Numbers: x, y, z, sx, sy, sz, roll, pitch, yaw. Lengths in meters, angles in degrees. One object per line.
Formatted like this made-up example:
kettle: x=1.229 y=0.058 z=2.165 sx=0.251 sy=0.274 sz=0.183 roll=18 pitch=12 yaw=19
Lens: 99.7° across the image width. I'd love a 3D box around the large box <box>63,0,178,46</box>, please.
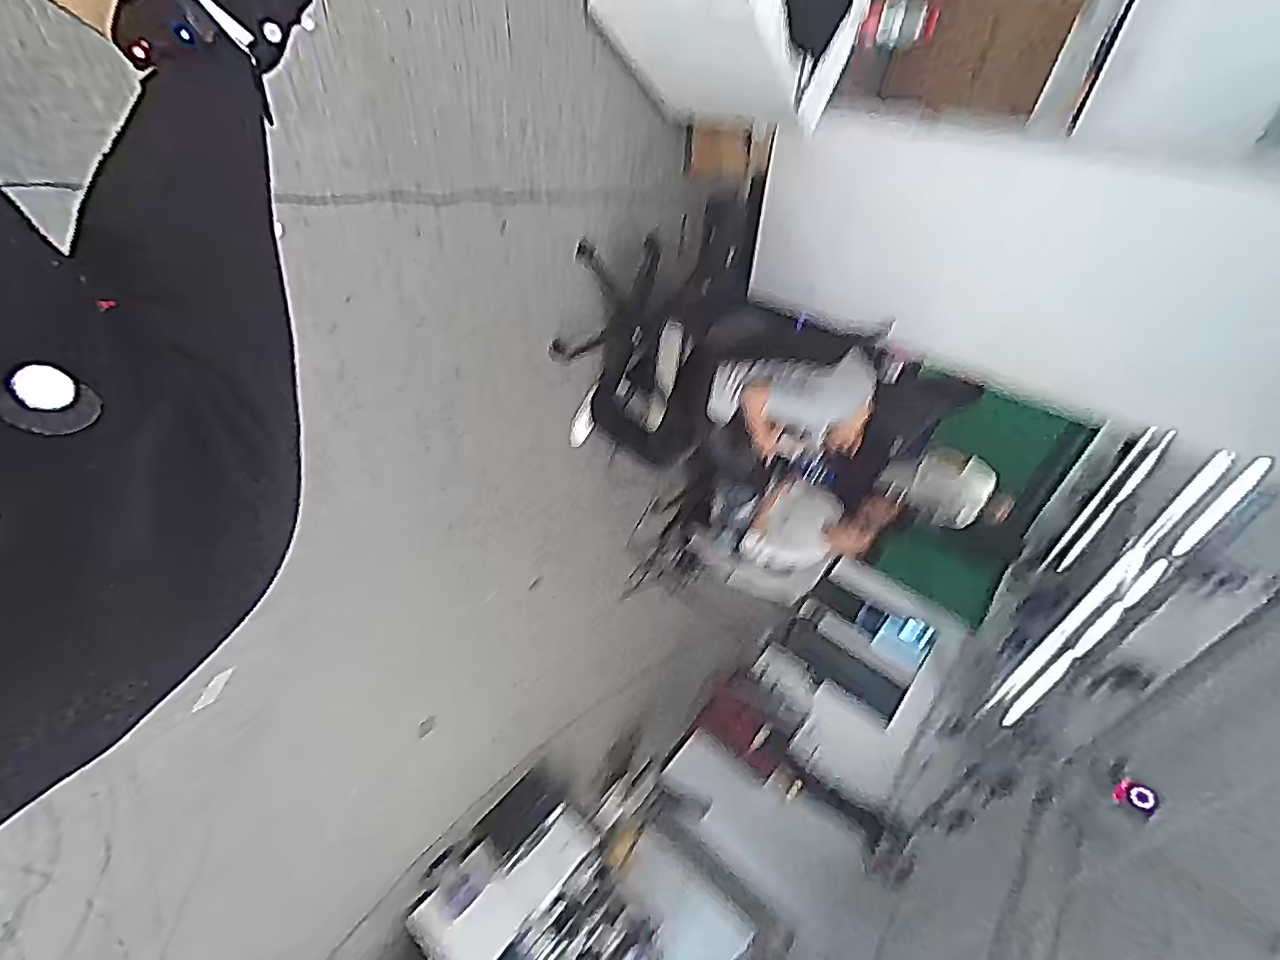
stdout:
large box: x=-0.520 y=-0.592 z=0.328 sx=0.320 sy=0.320 sz=0.408 roll=-57 pitch=152 yaw=7
